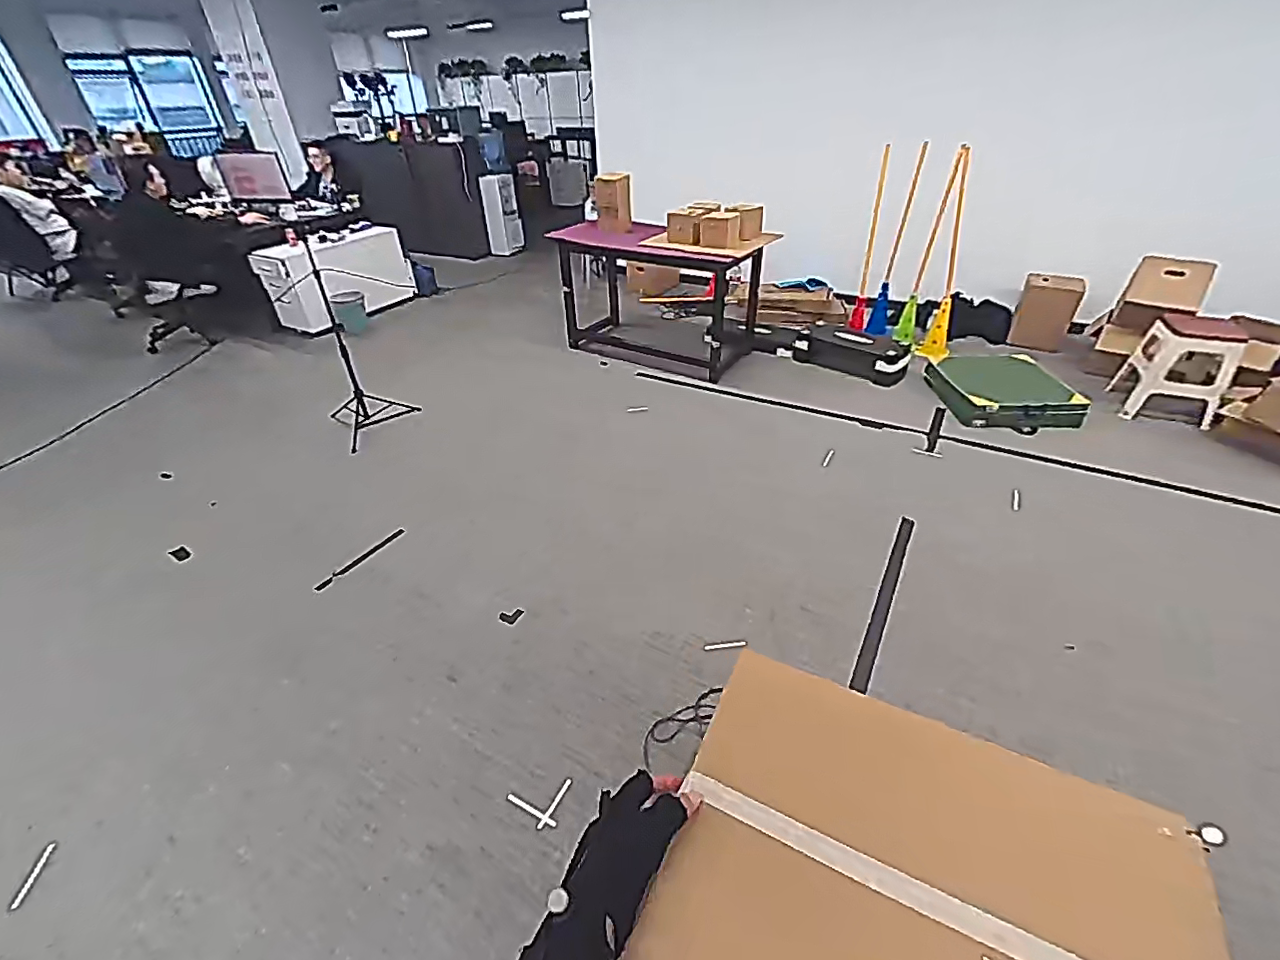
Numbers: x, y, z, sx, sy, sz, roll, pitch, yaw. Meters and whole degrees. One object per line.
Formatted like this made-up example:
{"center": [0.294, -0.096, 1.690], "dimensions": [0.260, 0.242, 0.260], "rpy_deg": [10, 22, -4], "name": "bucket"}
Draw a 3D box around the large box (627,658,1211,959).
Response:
{"center": [0.236, 0.454, 0.545], "dimensions": [0.408, 0.320, 0.320], "rpy_deg": [16, 46, 22], "name": "large box"}
